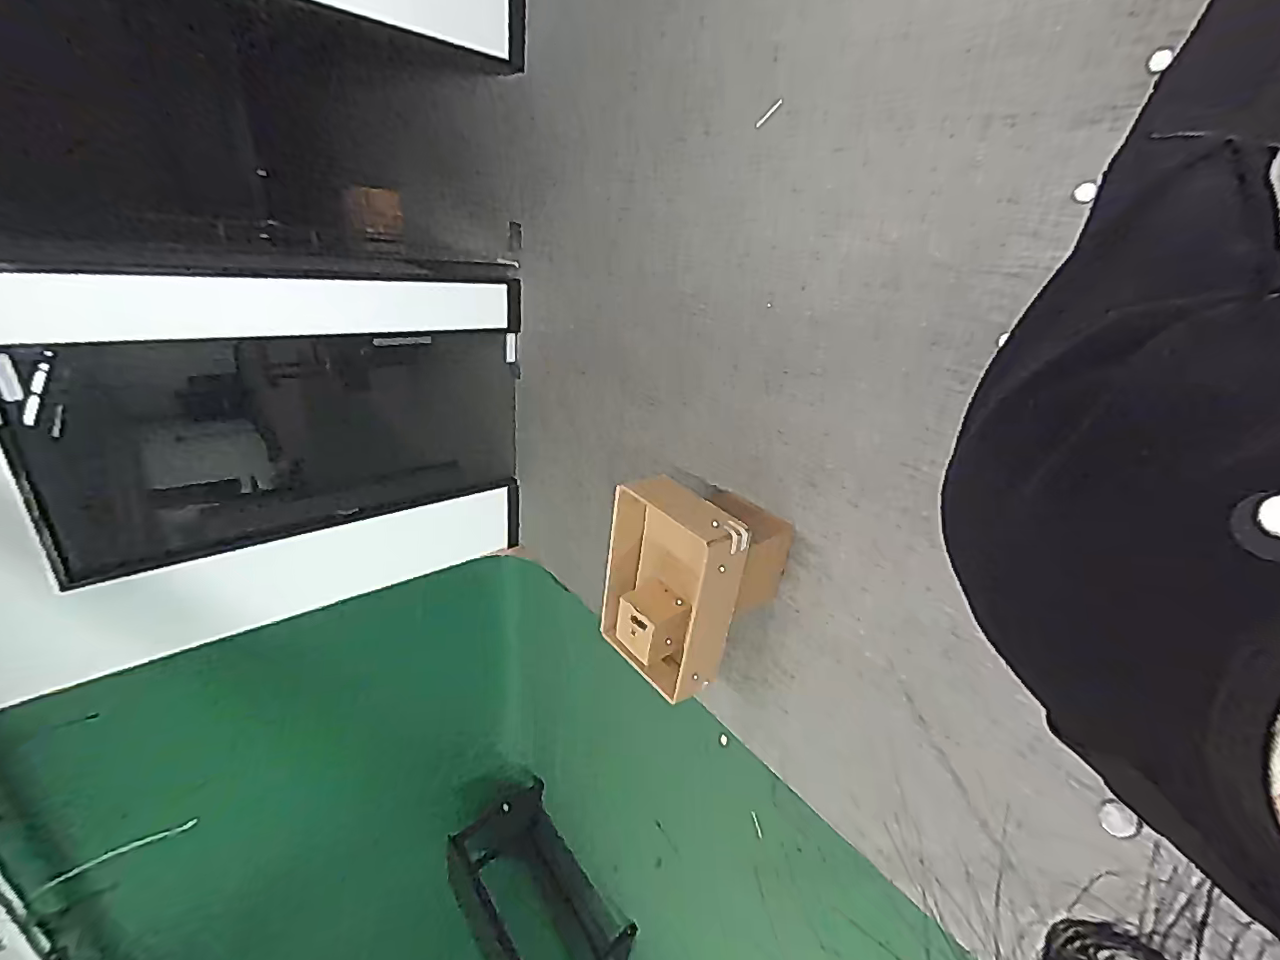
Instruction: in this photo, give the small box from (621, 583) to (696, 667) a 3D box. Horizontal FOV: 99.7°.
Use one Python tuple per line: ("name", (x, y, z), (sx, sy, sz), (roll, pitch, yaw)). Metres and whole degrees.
("small box", (0.062, 0.465, 1.768), (0.168, 0.176, 0.179), (34, 126, 40))
